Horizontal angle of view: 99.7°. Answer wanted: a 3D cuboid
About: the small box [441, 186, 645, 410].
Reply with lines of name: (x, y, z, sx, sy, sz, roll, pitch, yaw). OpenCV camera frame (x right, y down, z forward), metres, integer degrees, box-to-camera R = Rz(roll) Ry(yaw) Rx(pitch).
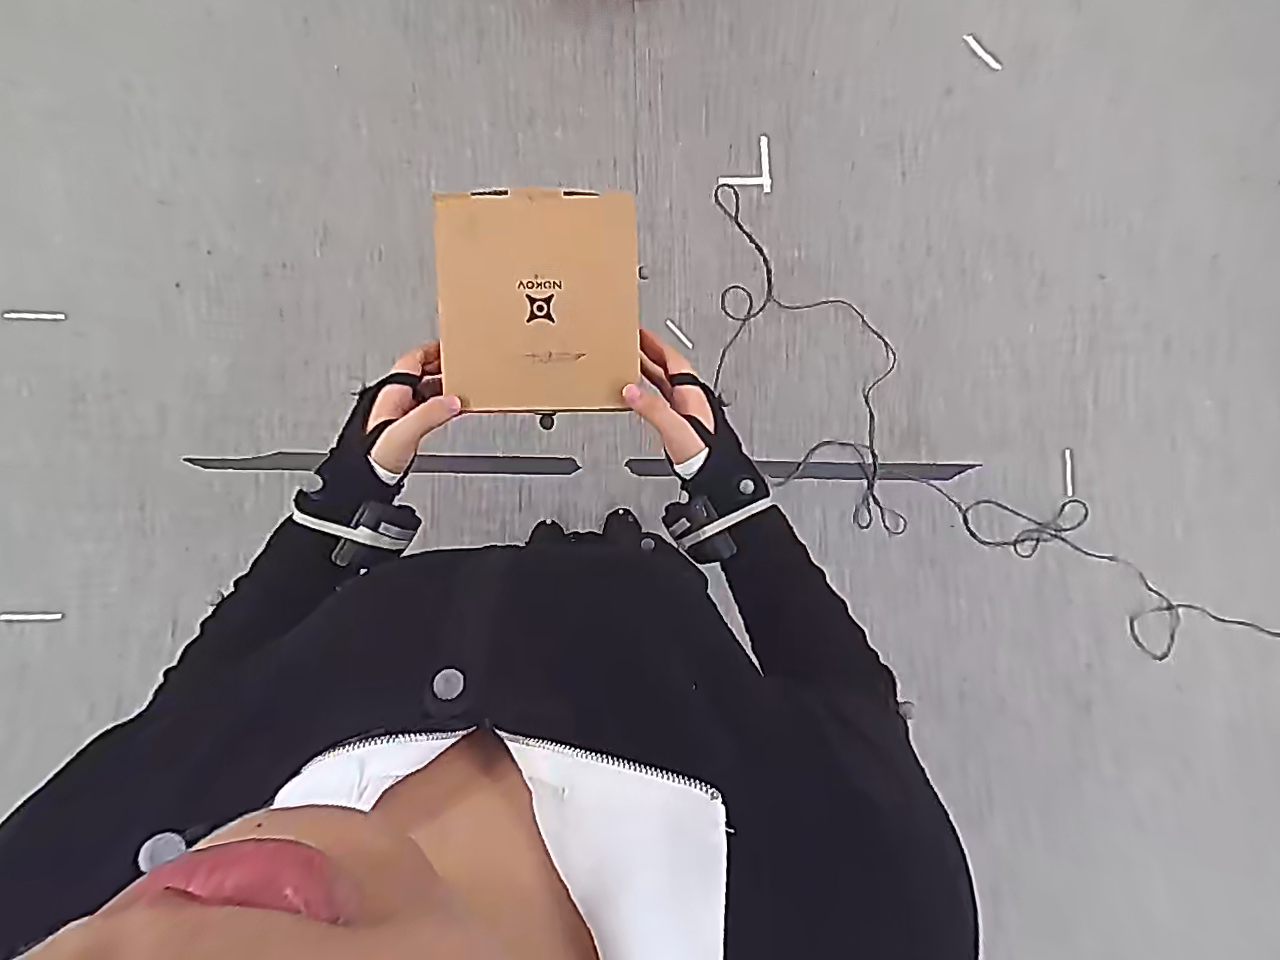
small box: (-0.083, -0.159, 0.524, 0.168, 0.176, 0.179, -1, 97, -3)
